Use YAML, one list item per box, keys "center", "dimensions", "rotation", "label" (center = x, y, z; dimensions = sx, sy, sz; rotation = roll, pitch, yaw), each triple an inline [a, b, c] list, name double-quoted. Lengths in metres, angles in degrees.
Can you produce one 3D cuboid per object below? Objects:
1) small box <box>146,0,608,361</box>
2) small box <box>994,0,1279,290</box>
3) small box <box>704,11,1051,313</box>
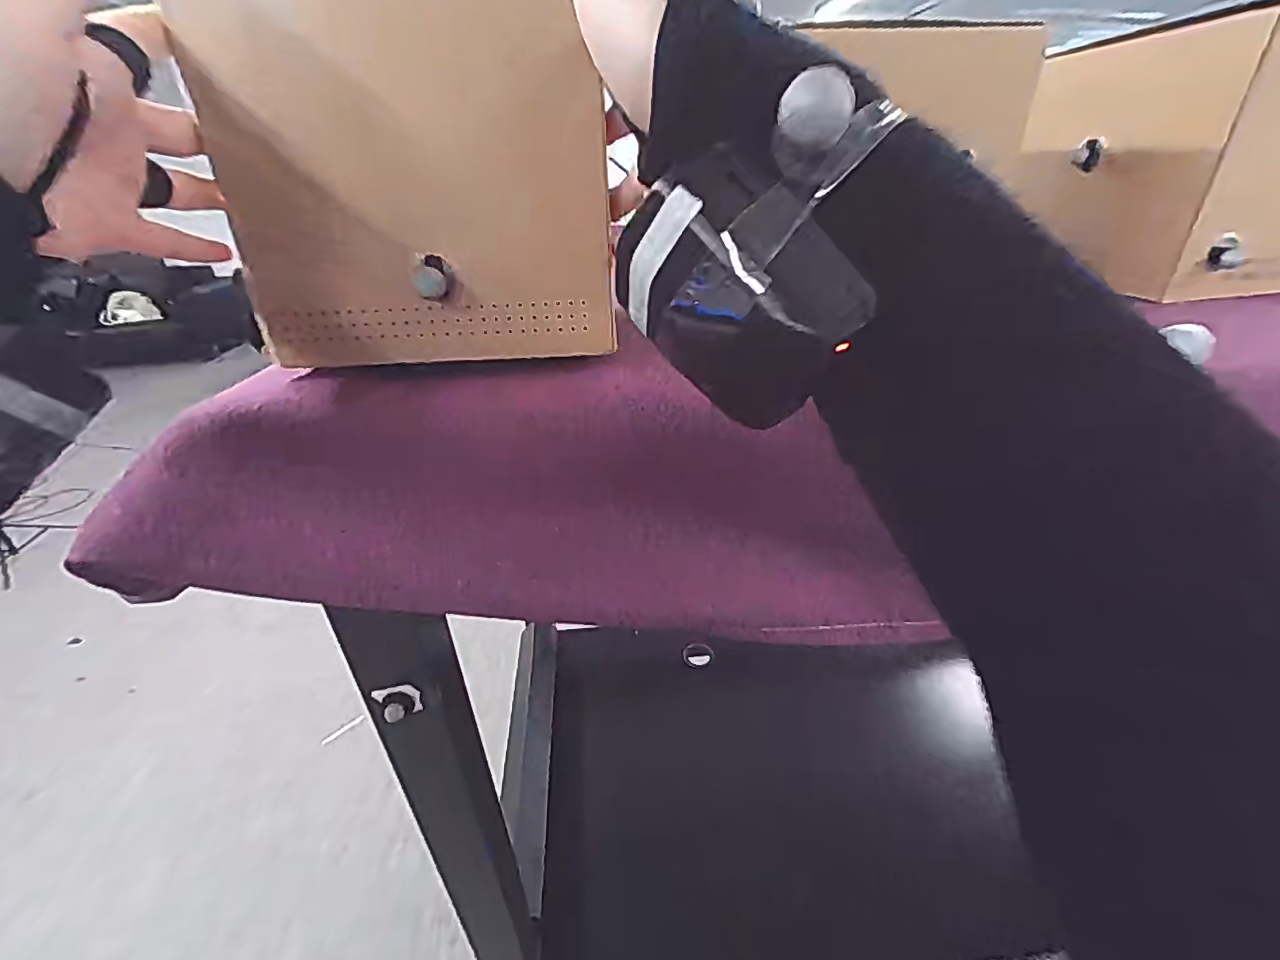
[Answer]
- center: [-0.107, -0.168, 0.306]
  dimensions: [0.179, 0.176, 0.168]
  rotation: [-3, 25, -4]
  label: "small box"
- center: [0.426, -0.246, 0.420]
  dimensions: [0.168, 0.176, 0.179]
  rotation: [-7, 29, -8]
  label: "small box"
- center: [0.154, -0.235, 0.421]
  dimensions: [0.179, 0.176, 0.168]
  rotation: [-6, 29, -6]
  label: "small box"
